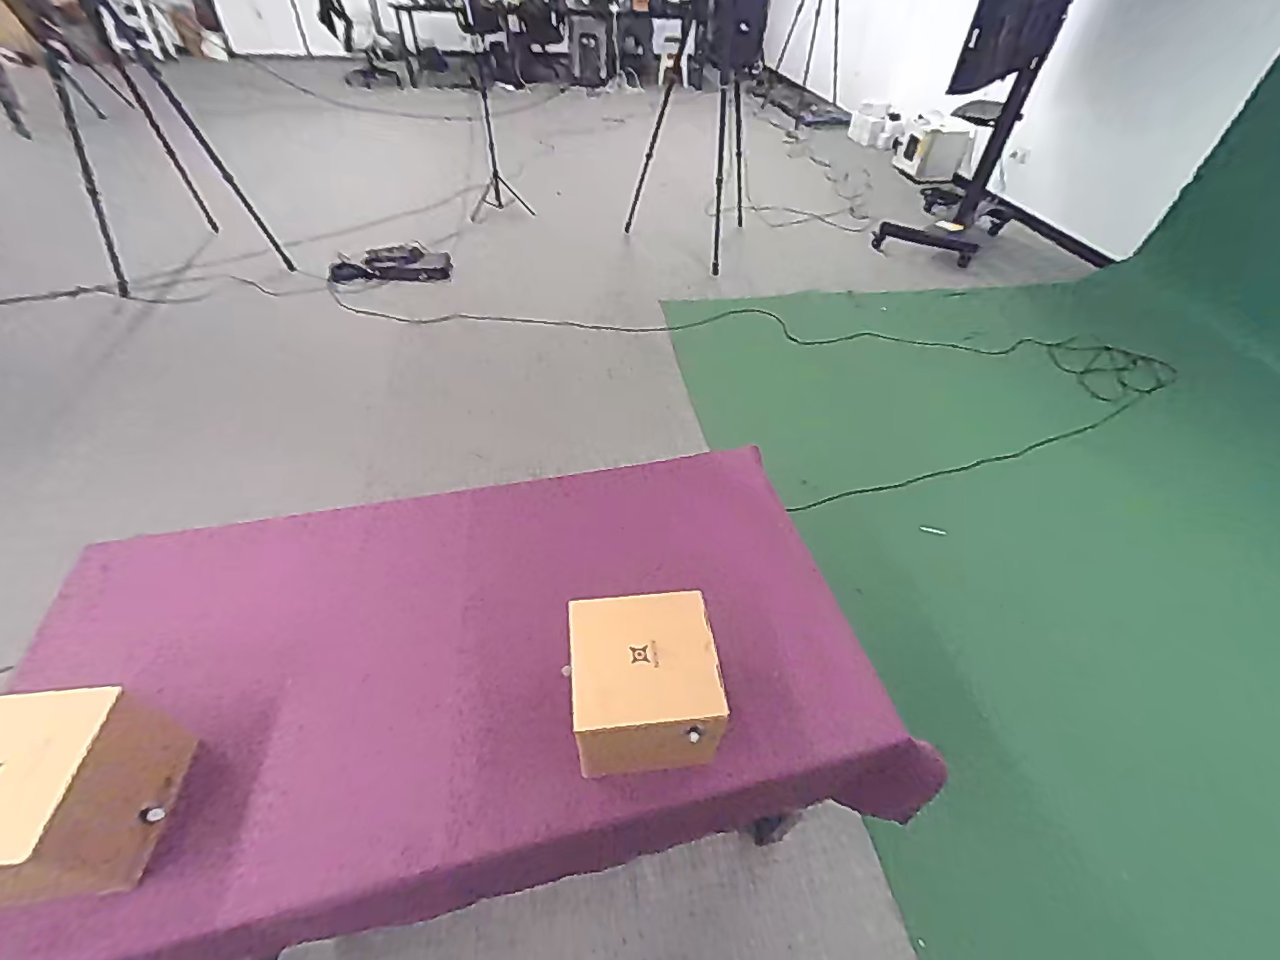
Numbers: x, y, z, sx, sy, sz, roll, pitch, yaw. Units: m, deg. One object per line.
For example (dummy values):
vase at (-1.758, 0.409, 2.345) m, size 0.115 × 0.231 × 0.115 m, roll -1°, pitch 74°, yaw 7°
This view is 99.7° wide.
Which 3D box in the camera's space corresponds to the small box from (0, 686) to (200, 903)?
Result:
small box at (-0.651, 0.348, 0.595) m, size 0.179 × 0.176 × 0.168 m, roll -3°, pitch 47°, yaw -6°

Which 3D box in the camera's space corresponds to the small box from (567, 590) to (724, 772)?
small box at (-0.001, 0.265, 0.708) m, size 0.179 × 0.176 × 0.168 m, roll -3°, pitch 46°, yaw -7°
